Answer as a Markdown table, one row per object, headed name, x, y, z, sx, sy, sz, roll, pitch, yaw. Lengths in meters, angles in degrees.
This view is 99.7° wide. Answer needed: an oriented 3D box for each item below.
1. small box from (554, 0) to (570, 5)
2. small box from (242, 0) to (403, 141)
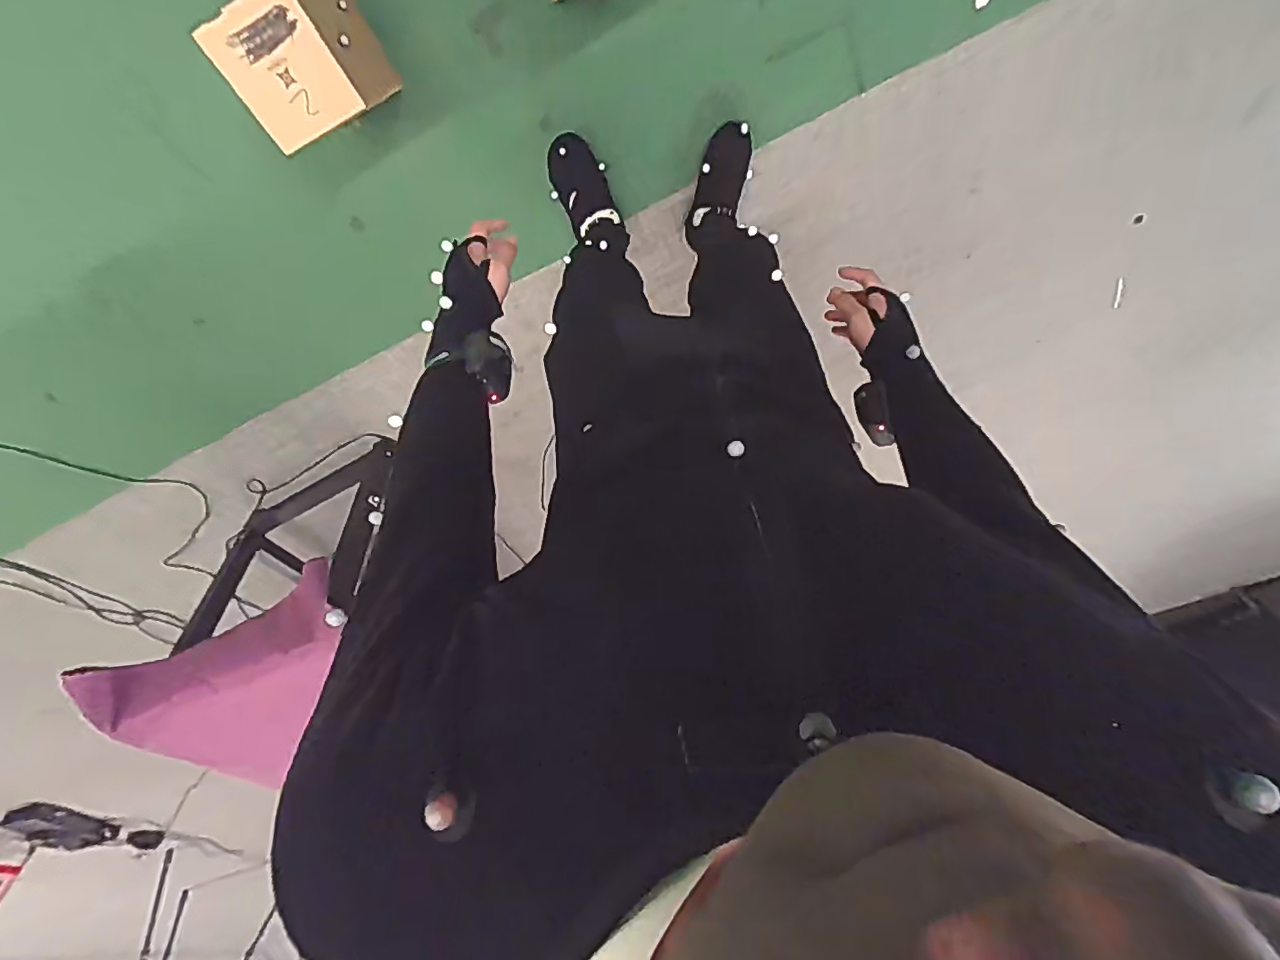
| name | x | y | z | sx | sy | sz | roll | pitch | yaw |
| --- | --- | --- | --- | --- | --- | --- | --- | --- | --- |
| small box | -0.116 | -0.966 | 0.935 | 0.168 | 0.176 | 0.179 | -23 | 130 | 8 |
| small box | -0.575 | -0.775 | 1.010 | 0.168 | 0.176 | 0.179 | -23 | 129 | 9 |
